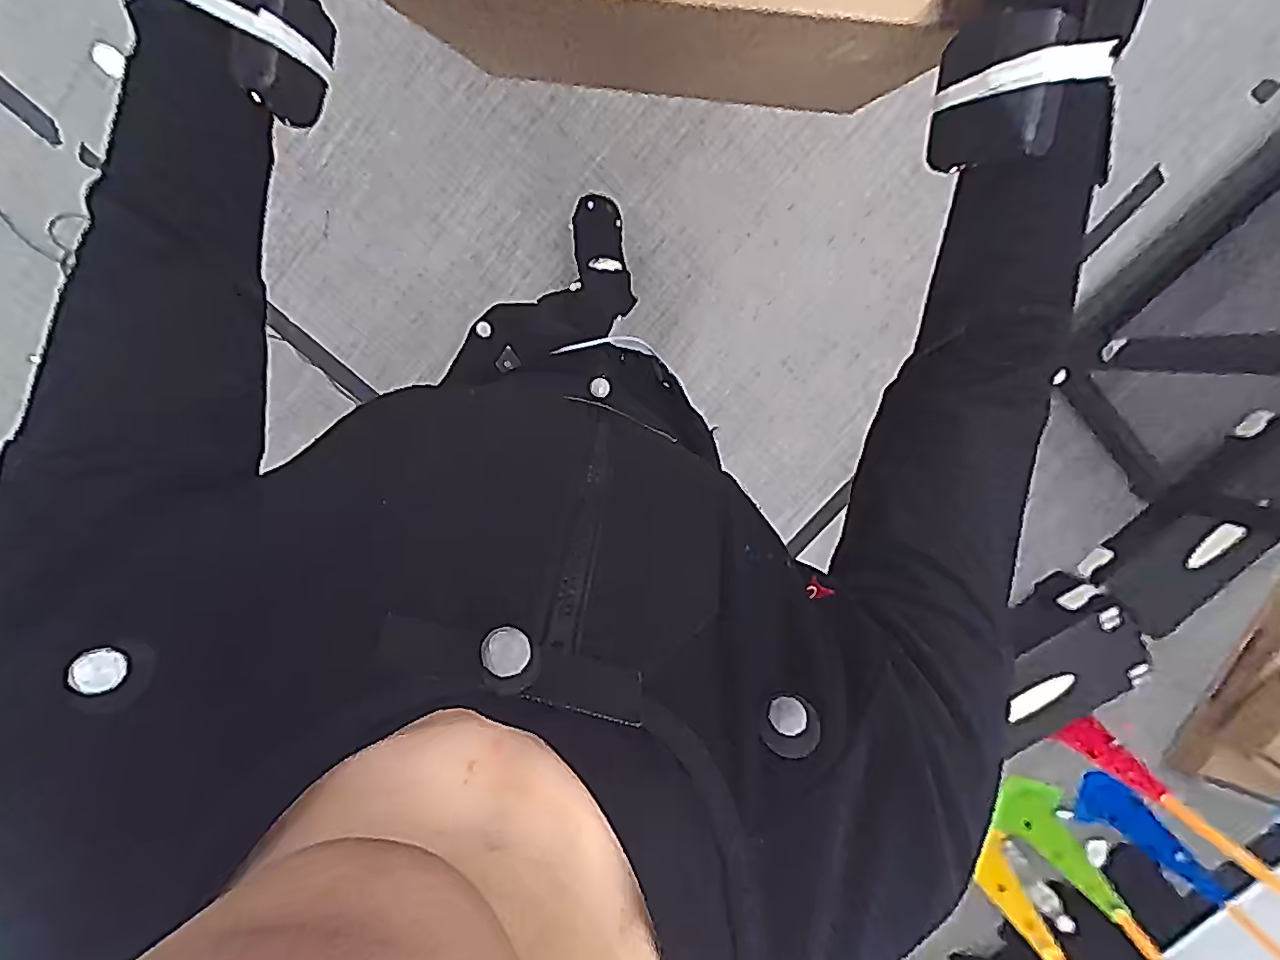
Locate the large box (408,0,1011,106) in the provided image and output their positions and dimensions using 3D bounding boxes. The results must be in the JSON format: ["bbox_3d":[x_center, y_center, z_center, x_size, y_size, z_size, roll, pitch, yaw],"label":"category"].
[{"bbox_3d":[0.042,-0.495,0.393,0.408,0.320,0.320,6,118,0],"label":"large box"}]
